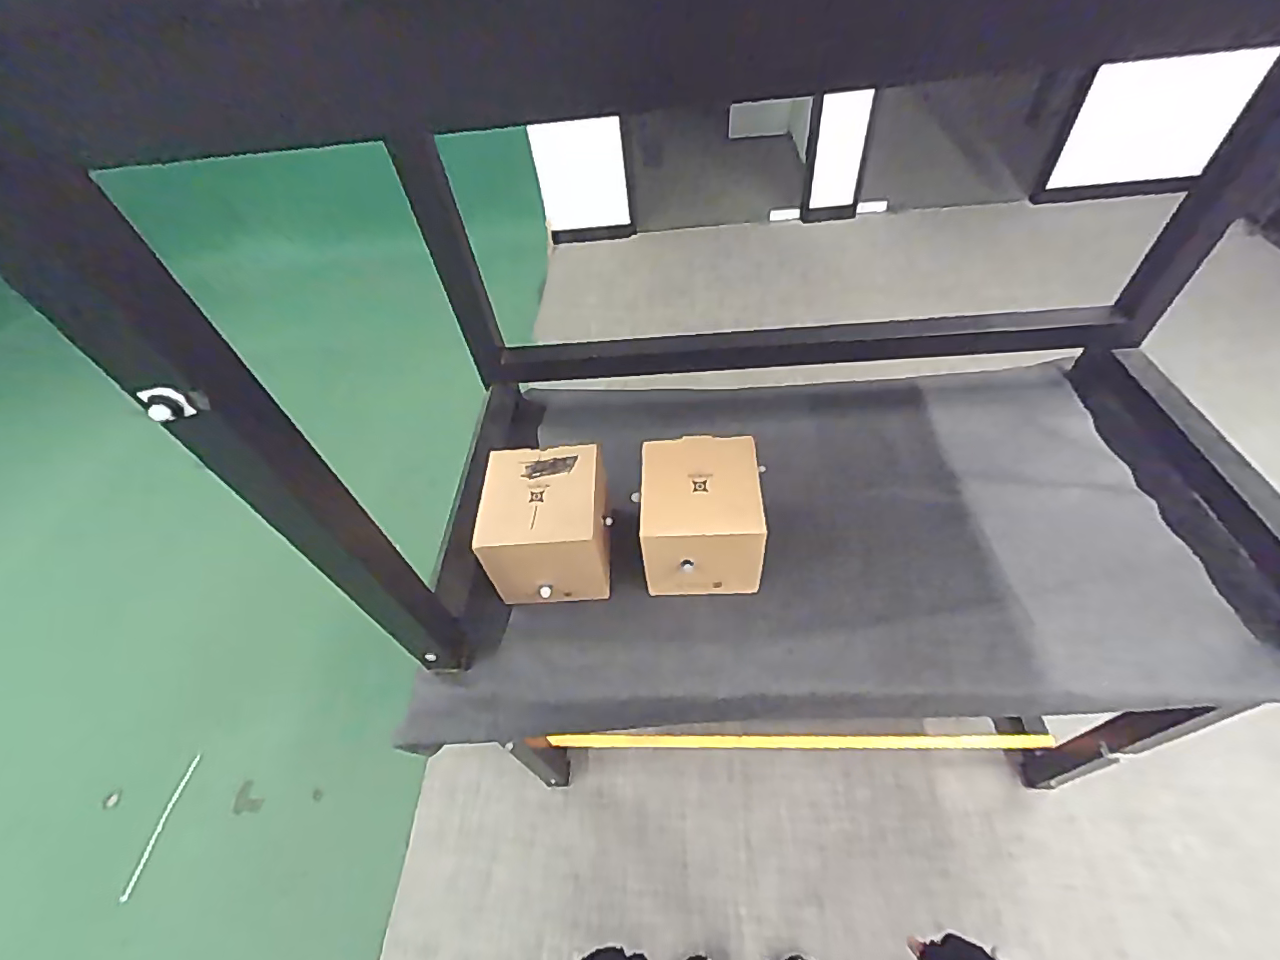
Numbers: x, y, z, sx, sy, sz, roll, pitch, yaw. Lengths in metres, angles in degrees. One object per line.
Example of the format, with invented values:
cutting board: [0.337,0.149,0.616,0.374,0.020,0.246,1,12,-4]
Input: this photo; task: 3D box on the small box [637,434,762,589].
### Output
small box: [0.089,0.053,0.812,0.168,0.176,0.179,-2,49,5]

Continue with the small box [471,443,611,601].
small box: [-0.137,0.066,0.827,0.168,0.176,0.179,-4,50,4]
